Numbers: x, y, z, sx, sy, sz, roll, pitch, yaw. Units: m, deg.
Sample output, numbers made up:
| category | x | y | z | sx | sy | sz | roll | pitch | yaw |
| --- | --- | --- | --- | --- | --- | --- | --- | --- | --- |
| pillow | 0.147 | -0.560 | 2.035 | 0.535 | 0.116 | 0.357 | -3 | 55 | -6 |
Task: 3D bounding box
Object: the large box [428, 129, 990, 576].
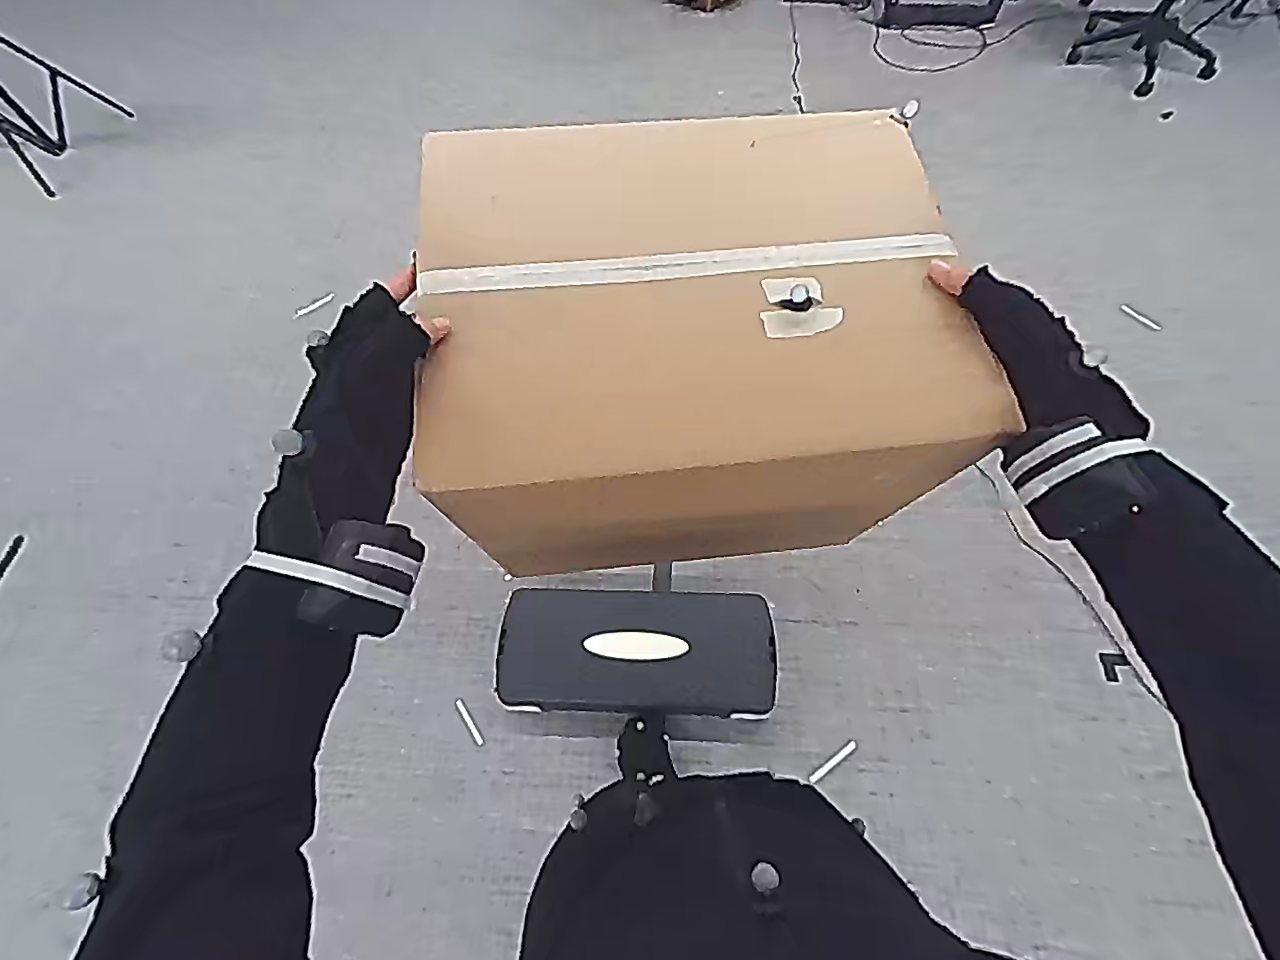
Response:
| category | x | y | z | sx | sy | sz | roll | pitch | yaw |
| --- | --- | --- | --- | --- | --- | --- | --- | --- | --- |
| large box | 0.031 | -0.101 | 0.560 | 0.408 | 0.320 | 0.320 | -6 | 70 | -4 |
